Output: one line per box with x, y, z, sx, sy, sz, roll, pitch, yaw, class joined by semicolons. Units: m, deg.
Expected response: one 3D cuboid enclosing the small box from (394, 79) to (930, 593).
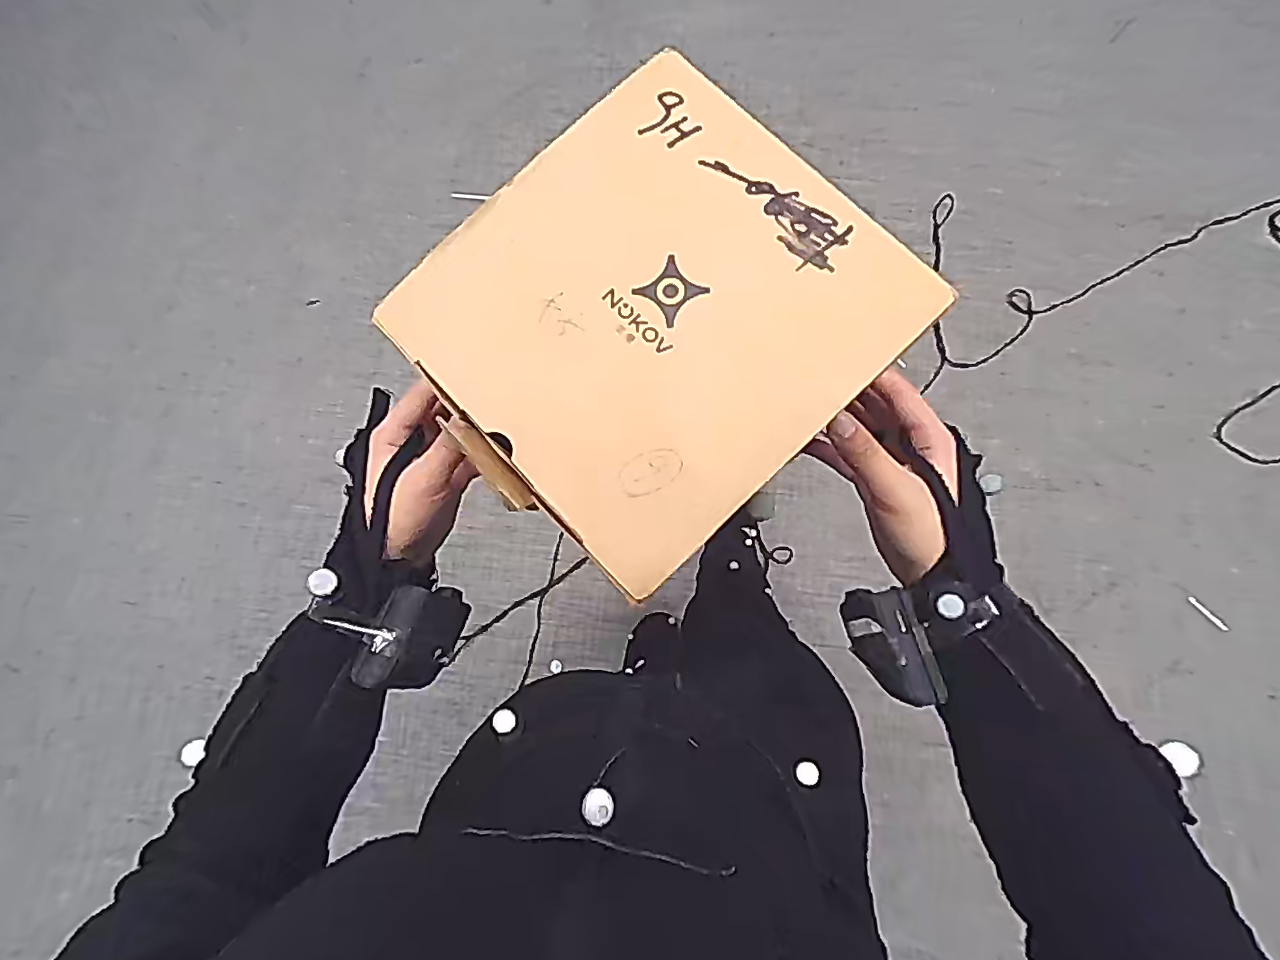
0.011;-0.057;0.310;0.179;0.176;0.168;-43;81;-3;small box
